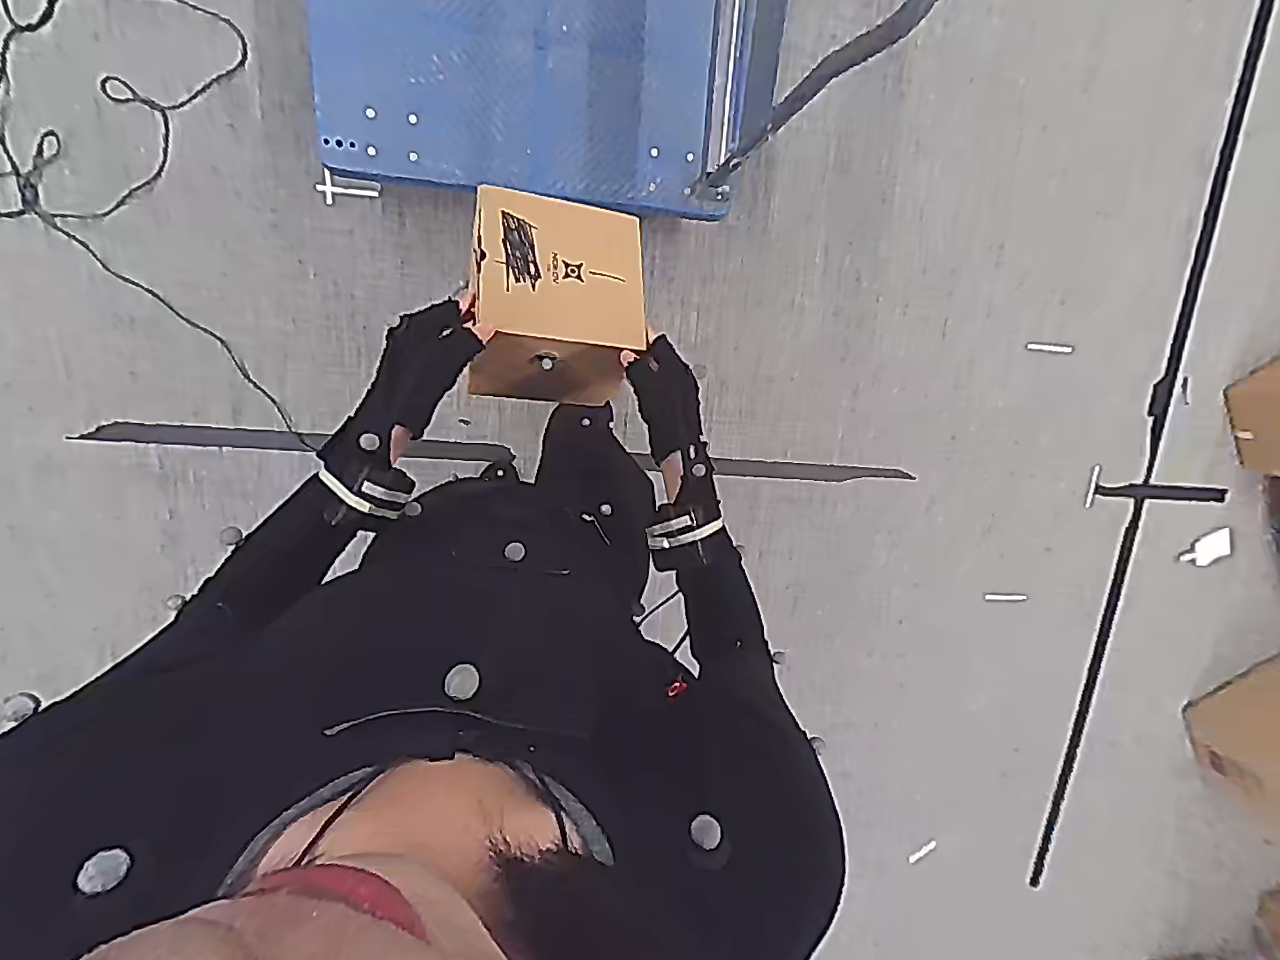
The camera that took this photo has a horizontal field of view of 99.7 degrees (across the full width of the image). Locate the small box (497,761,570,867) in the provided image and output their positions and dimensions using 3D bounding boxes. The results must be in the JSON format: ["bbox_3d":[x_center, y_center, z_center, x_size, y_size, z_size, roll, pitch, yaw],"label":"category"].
[{"bbox_3d":[-0.277,0.878,1.427,0.168,0.176,0.179,6,103,-10],"label":"small box"}]

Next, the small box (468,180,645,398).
[{"bbox_3d":[-0.106,-0.206,0.634,0.179,0.176,0.168,3,75,-21],"label":"small box"}]

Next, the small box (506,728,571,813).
[{"bbox_3d":[-0.294,0.856,1.589,0.179,0.176,0.168,-1,104,-9],"label":"small box"}]
